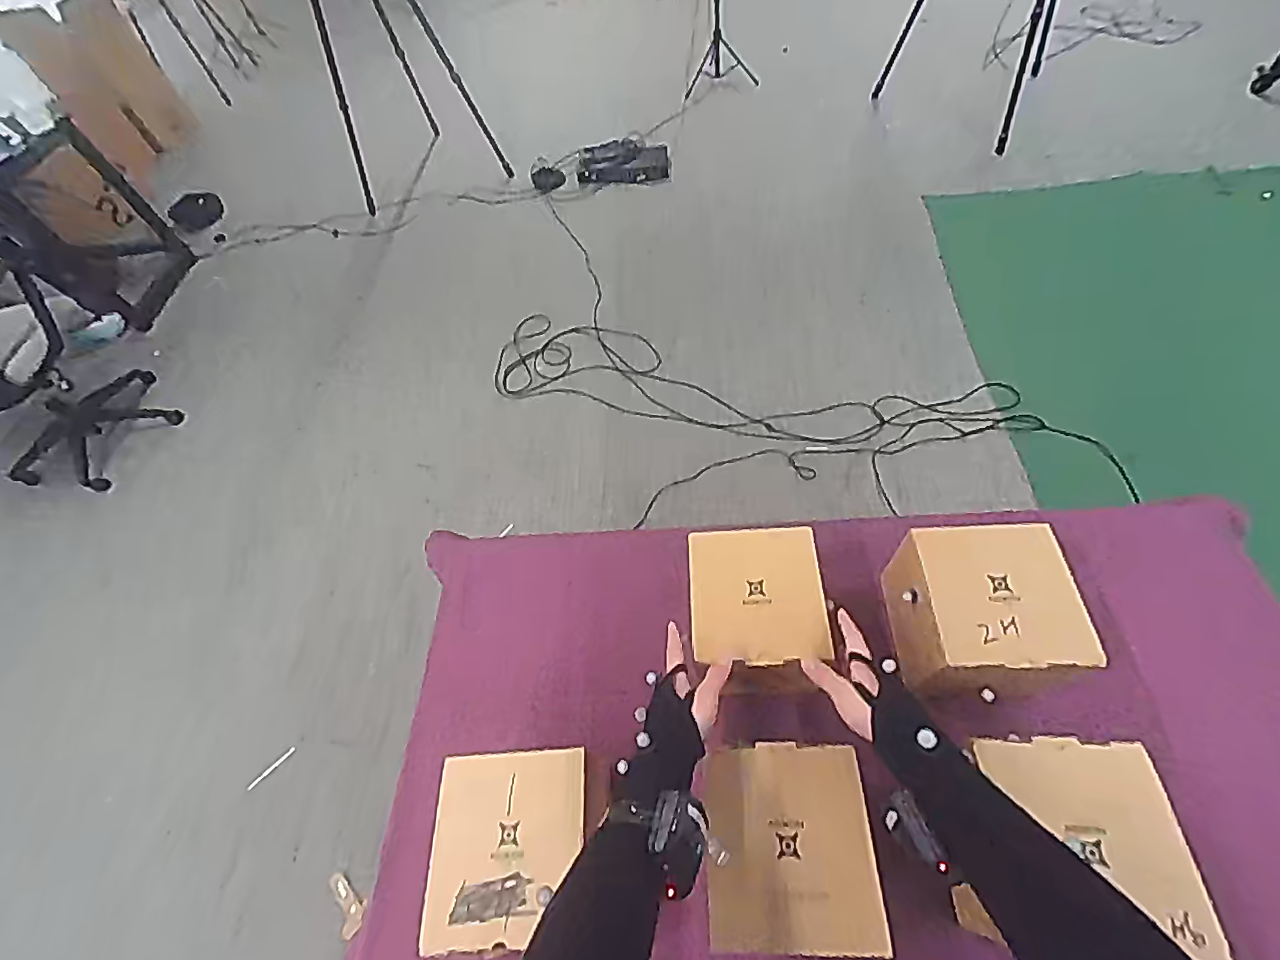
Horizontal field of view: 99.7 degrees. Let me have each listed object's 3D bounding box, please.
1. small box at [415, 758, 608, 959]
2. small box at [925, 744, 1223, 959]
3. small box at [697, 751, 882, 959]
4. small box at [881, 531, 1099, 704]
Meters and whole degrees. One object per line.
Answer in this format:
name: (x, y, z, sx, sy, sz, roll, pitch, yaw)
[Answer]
small box: (-0.133, 0.437, 0.636, 0.168, 0.176, 0.179, -6, 54, 6)
small box: (0.425, 0.391, 0.571, 0.168, 0.176, 0.179, -3, 56, 9)
small box: (0.152, 0.412, 0.607, 0.168, 0.176, 0.179, -4, 57, 8)
small box: (0.430, 0.182, 0.704, 0.168, 0.176, 0.179, -3, 58, 8)
